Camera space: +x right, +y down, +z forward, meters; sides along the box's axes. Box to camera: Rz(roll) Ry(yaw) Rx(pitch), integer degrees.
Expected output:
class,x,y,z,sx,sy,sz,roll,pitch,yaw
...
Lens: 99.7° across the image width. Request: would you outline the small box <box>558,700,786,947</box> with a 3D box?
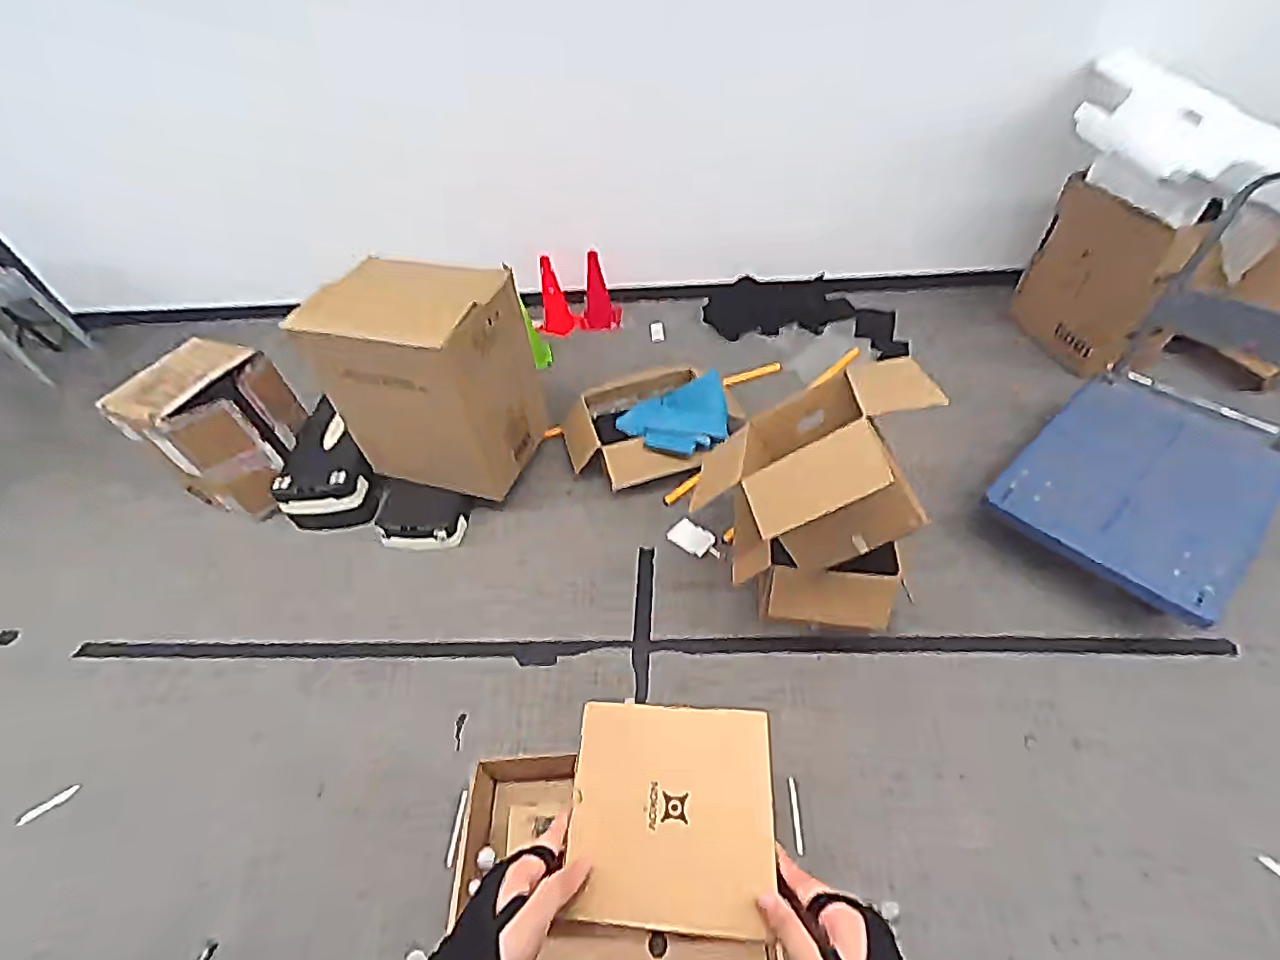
class,x,y,z,sx,sy,sz,roll,pitch,yaw
small box,0.038,0.323,0.518,0.179,0.176,0.168,-1,53,9
